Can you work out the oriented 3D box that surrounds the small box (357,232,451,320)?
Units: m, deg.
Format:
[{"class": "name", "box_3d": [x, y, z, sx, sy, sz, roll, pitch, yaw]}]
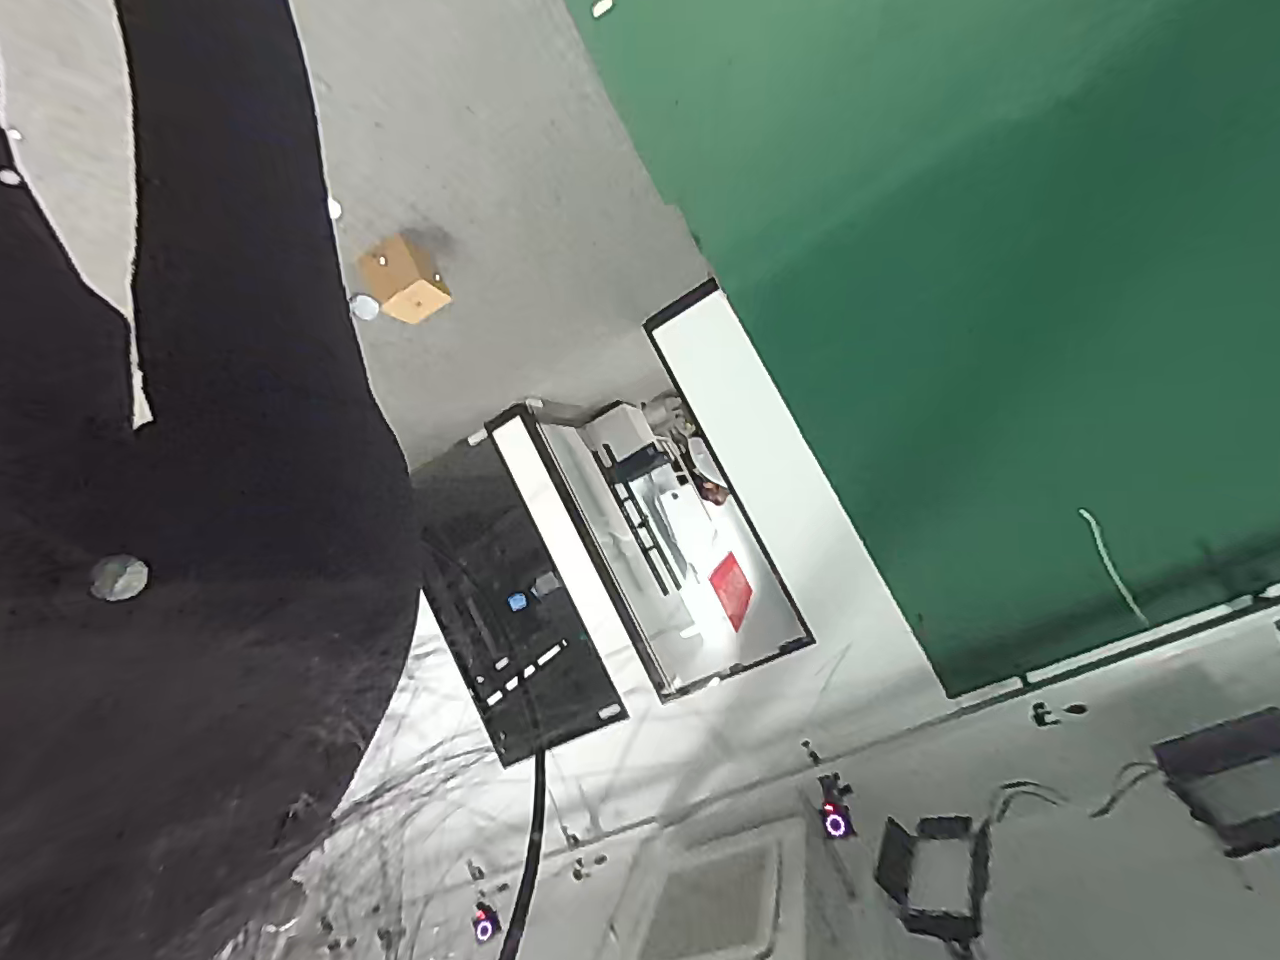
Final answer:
[{"class": "small box", "box_3d": [-0.727, -0.629, 1.671, 0.168, 0.176, 0.179, -28, 175, 10]}]
